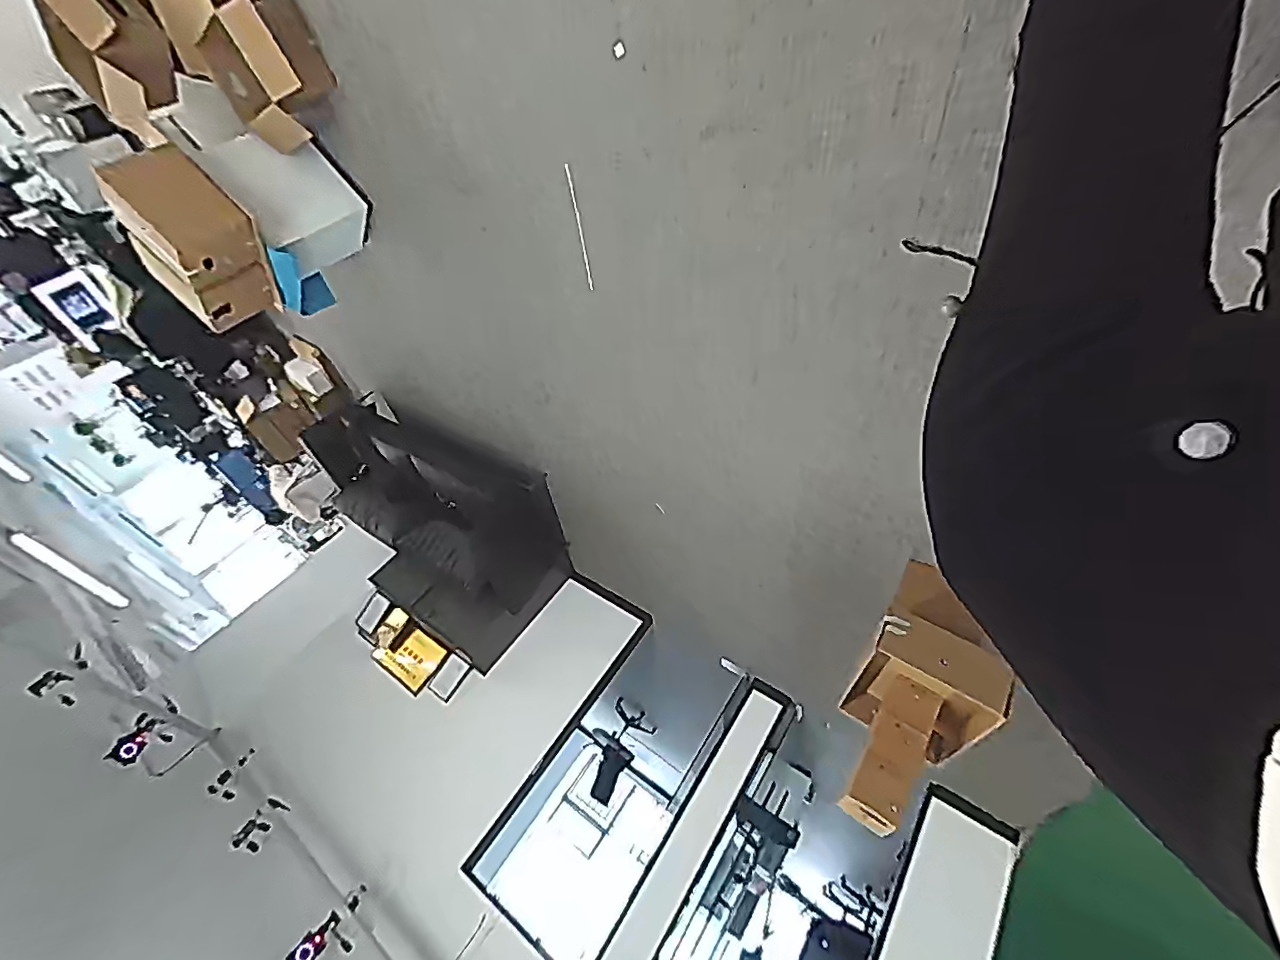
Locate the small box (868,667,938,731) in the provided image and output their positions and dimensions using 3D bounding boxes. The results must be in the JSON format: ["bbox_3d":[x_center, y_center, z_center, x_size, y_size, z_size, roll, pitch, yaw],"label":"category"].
[{"bbox_3d":[0.978,0.834,2.010,0.168,0.176,0.179,26,145,24],"label":"small box"}]

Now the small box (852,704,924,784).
[{"bbox_3d":[0.885,0.935,1.924,0.168,0.176,0.179,26,145,25],"label":"small box"}]
